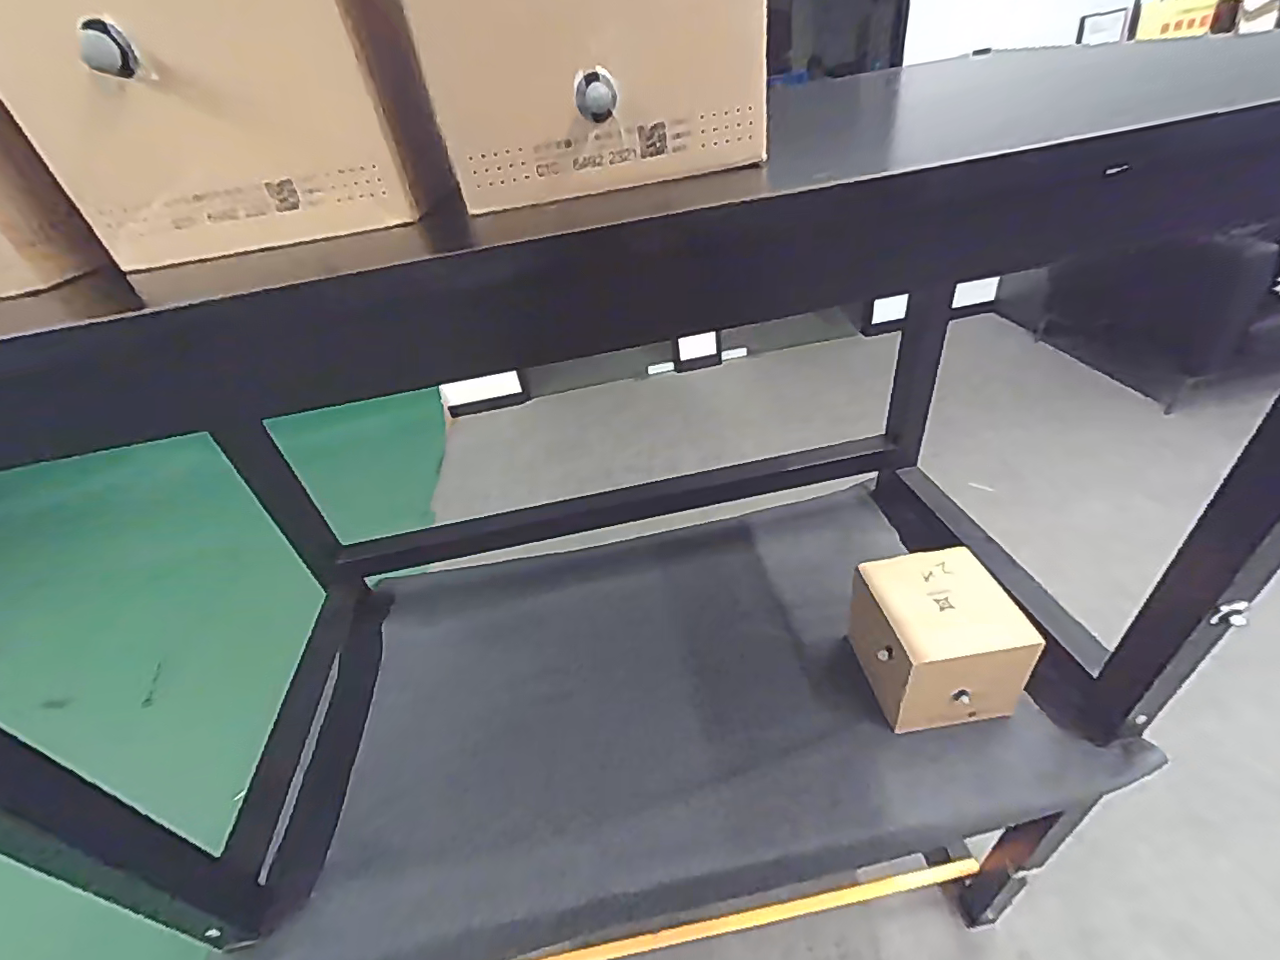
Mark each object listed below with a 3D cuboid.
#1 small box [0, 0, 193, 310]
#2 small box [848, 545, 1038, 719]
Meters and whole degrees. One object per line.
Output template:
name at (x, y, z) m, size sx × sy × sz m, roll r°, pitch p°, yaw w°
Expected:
small box at (-0.417, -0.200, 0.311) m, size 0.168 × 0.176 × 0.179 m, roll -10°, pitch 38°, yaw -1°
small box at (0.415, 0.222, 0.777) m, size 0.168 × 0.176 × 0.179 m, roll -9°, pitch 37°, yaw 1°
